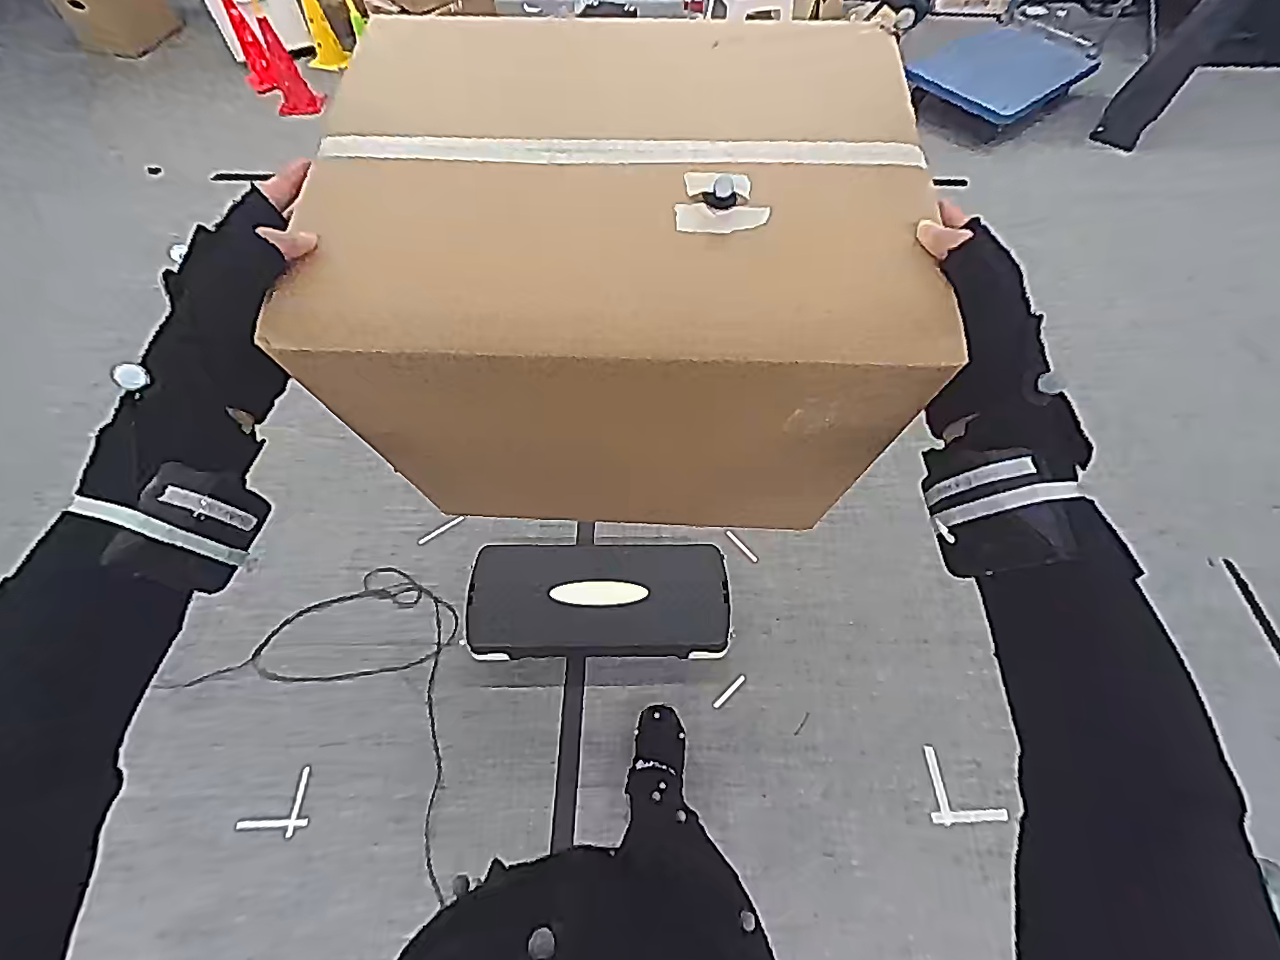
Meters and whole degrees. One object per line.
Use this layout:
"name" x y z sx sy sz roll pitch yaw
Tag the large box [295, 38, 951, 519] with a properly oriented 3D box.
"large box" -0.009 -0.156 0.516 0.408 0.320 0.320 2 68 1
